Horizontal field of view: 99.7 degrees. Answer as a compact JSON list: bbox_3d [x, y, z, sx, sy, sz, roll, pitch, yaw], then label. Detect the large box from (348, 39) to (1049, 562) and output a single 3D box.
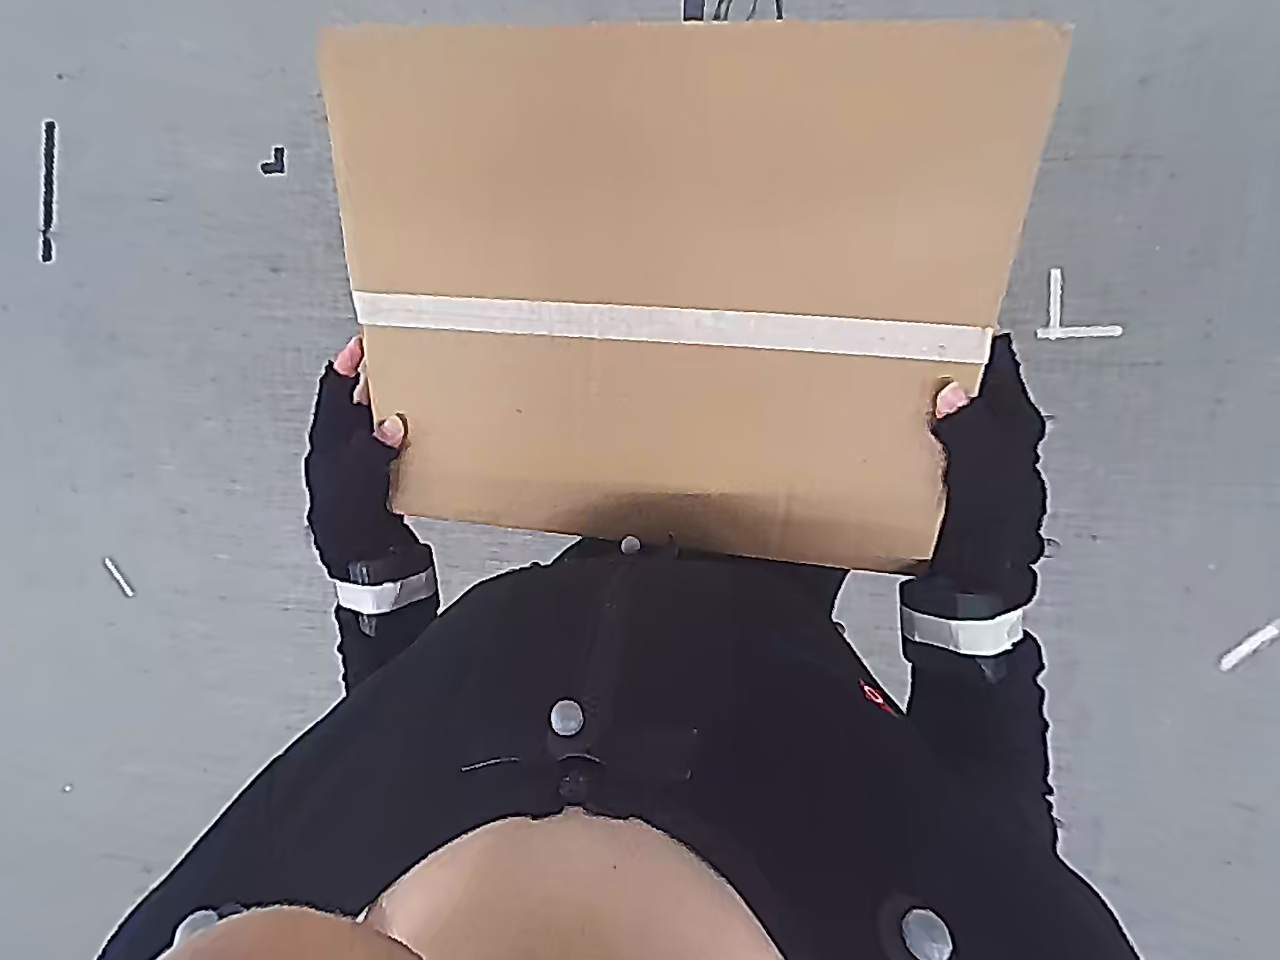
[{"bbox_3d":[0.031,-0.154,0.493,0.408,0.320,0.320,7,113,7],"label":"large box"}]
